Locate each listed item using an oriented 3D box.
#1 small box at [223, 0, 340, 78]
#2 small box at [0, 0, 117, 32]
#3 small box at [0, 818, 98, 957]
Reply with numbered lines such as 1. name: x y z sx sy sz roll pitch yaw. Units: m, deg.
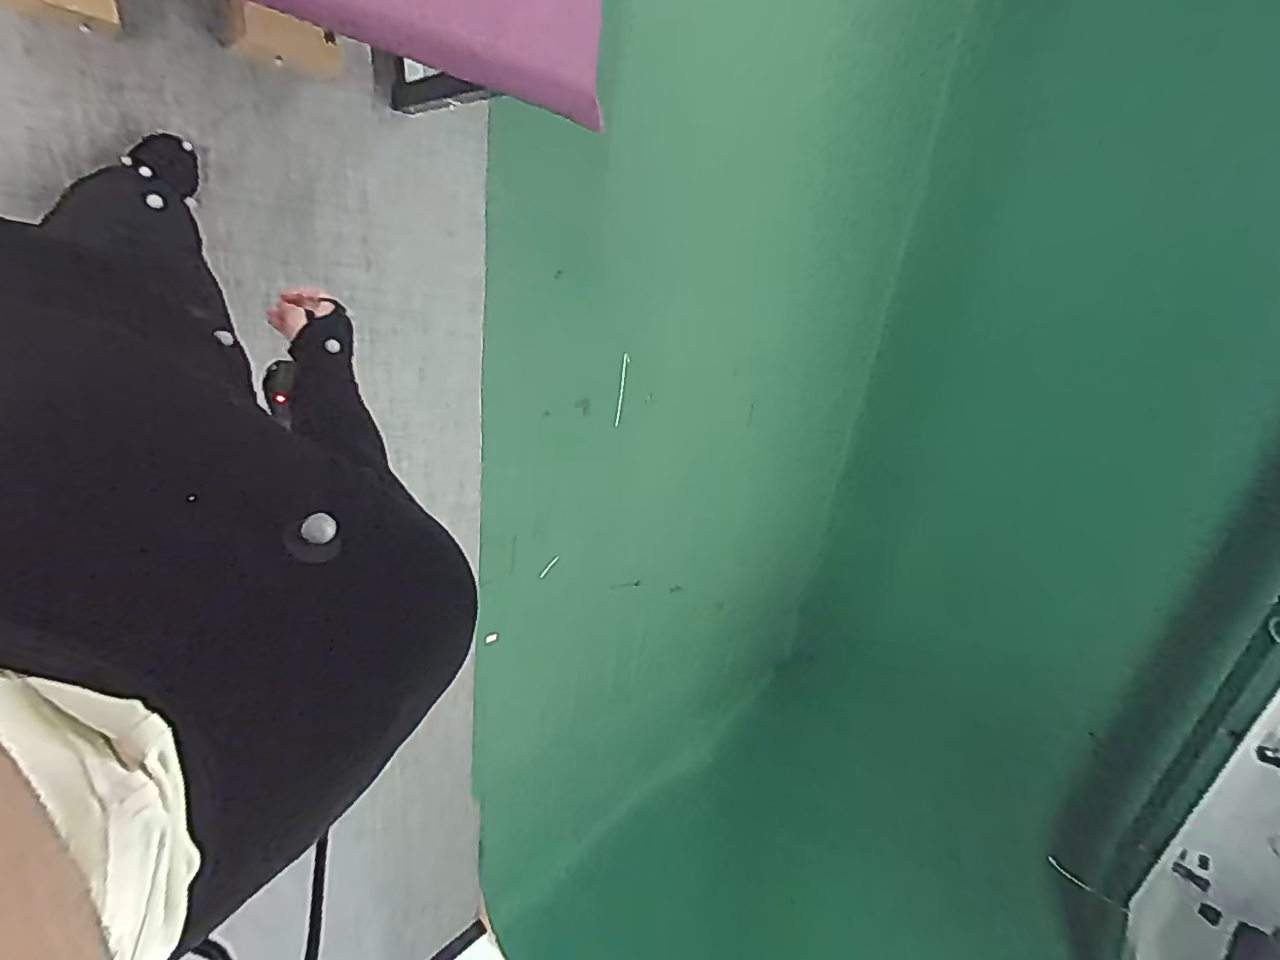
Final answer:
1. small box: -0.736 -0.954 1.105 0.179 0.176 0.168 -11 118 -44
2. small box: -0.990 -0.863 0.876 0.179 0.176 0.168 -13 119 -43
3. small box: -1.484 0.998 1.337 0.179 0.176 0.168 -14 121 -44
